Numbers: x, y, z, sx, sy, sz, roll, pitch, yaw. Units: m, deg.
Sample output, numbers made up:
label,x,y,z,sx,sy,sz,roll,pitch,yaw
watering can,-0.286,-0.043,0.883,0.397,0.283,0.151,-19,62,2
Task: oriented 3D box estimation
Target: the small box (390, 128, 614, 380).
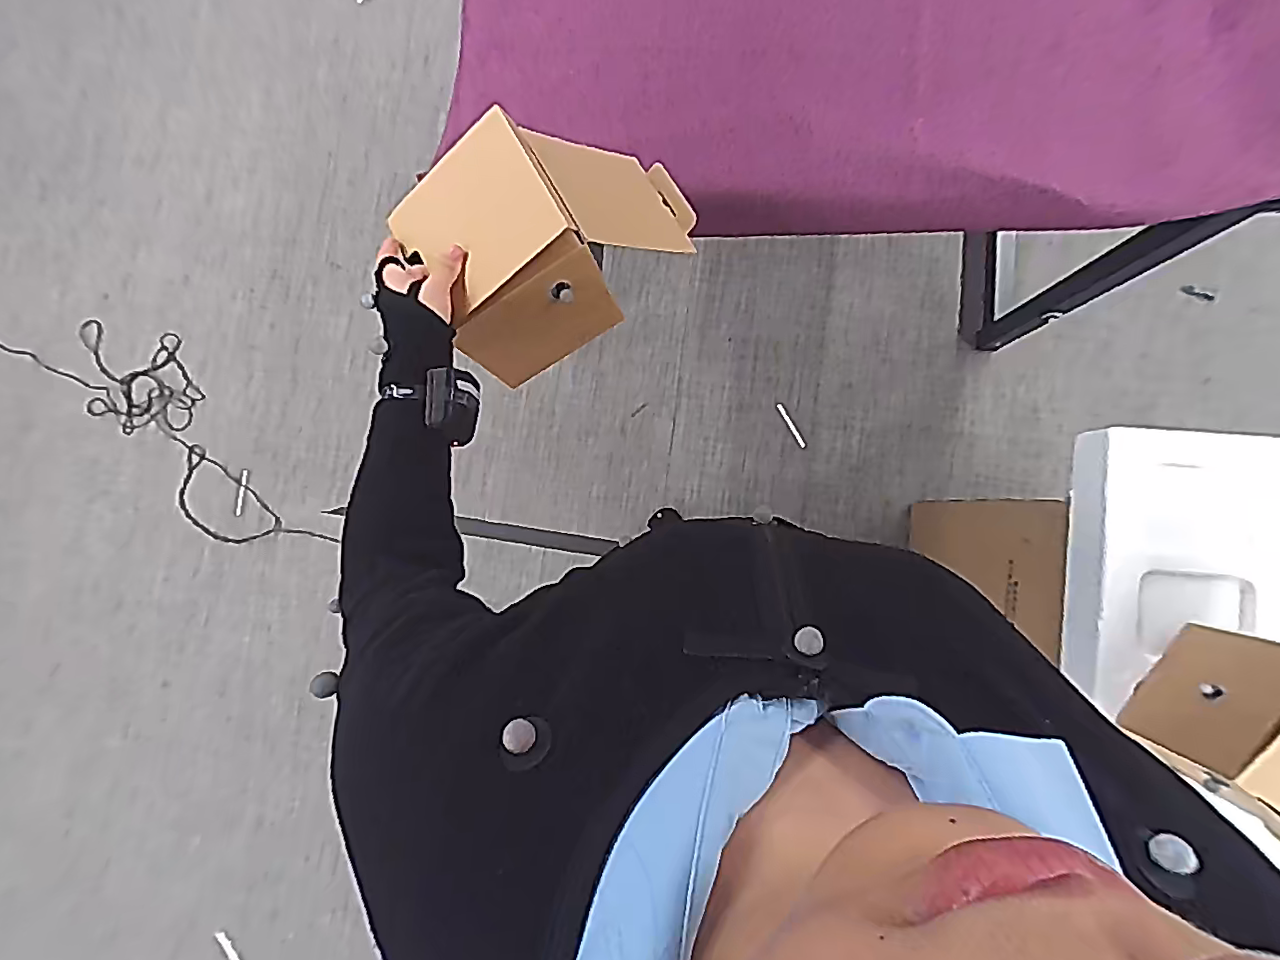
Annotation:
label,x,y,z,sx,sy,sz,roll,pitch,yaw
small box,-0.145,-0.248,0.635,0.179,0.176,0.168,-31,75,6
